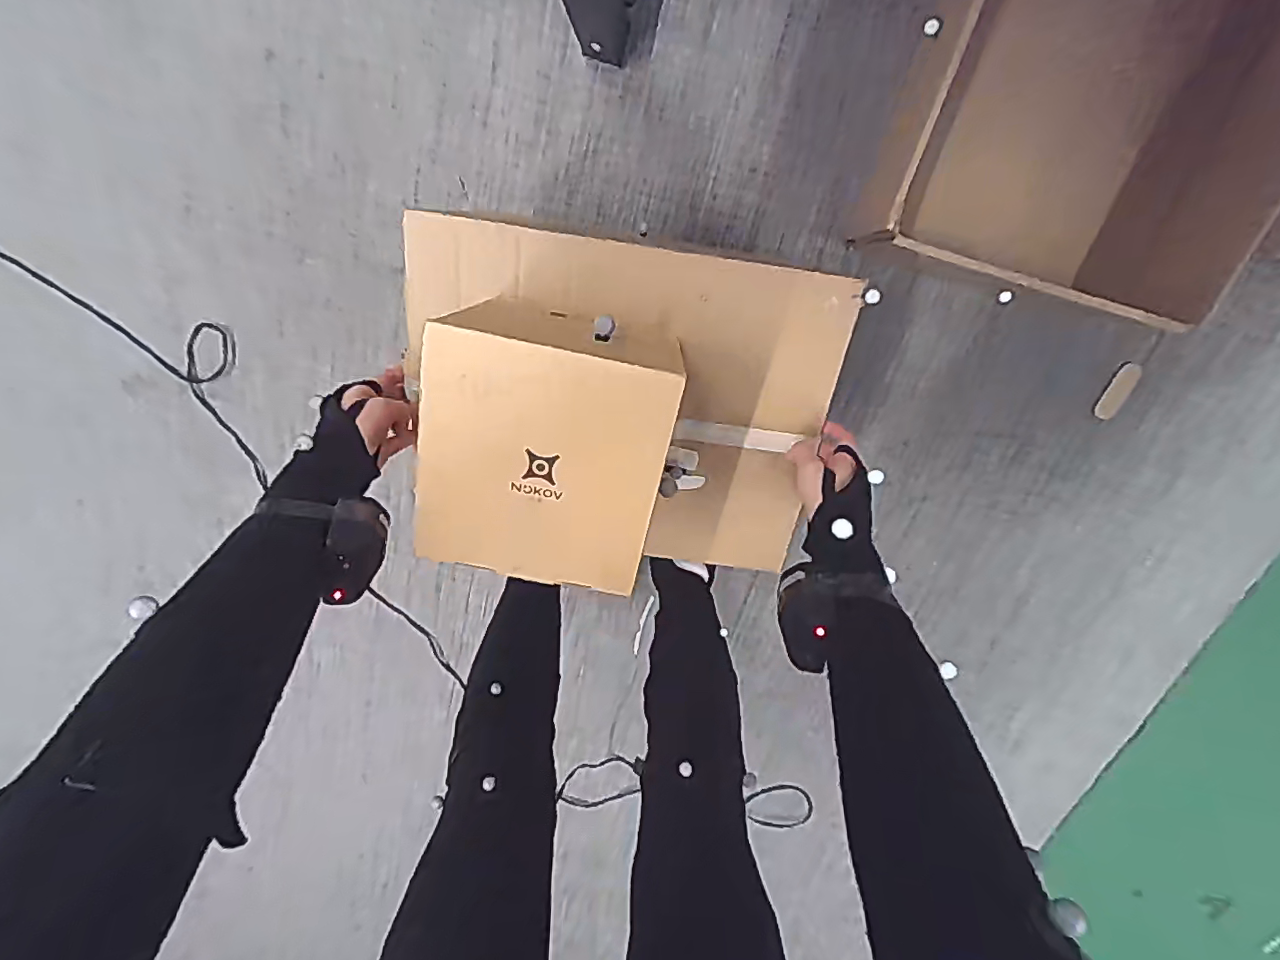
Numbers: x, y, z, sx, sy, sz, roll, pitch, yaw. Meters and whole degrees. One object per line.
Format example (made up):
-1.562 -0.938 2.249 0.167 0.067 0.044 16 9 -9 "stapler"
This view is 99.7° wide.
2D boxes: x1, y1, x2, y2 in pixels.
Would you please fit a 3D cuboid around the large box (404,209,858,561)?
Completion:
-0.023 -0.130 0.661 0.408 0.320 0.320 7 116 -3 "large box"
